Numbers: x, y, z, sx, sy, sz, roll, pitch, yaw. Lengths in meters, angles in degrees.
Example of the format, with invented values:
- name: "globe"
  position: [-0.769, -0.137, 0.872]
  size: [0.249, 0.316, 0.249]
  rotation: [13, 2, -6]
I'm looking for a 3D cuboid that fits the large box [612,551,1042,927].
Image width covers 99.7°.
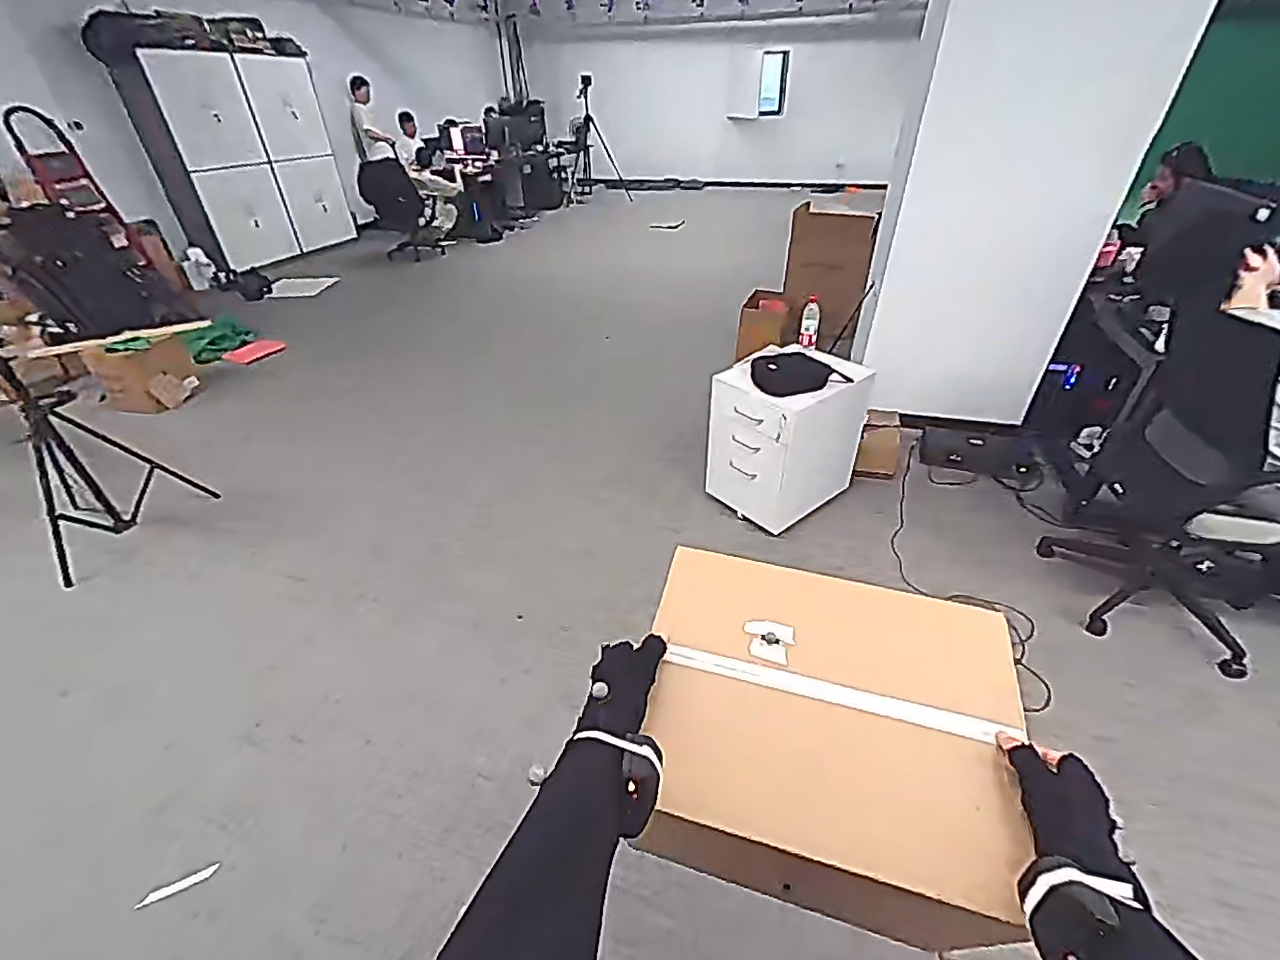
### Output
- name: "large box"
  position: [0.211, 0.337, 0.717]
  size: [0.408, 0.320, 0.320]
  rotation: [10, 48, 13]
